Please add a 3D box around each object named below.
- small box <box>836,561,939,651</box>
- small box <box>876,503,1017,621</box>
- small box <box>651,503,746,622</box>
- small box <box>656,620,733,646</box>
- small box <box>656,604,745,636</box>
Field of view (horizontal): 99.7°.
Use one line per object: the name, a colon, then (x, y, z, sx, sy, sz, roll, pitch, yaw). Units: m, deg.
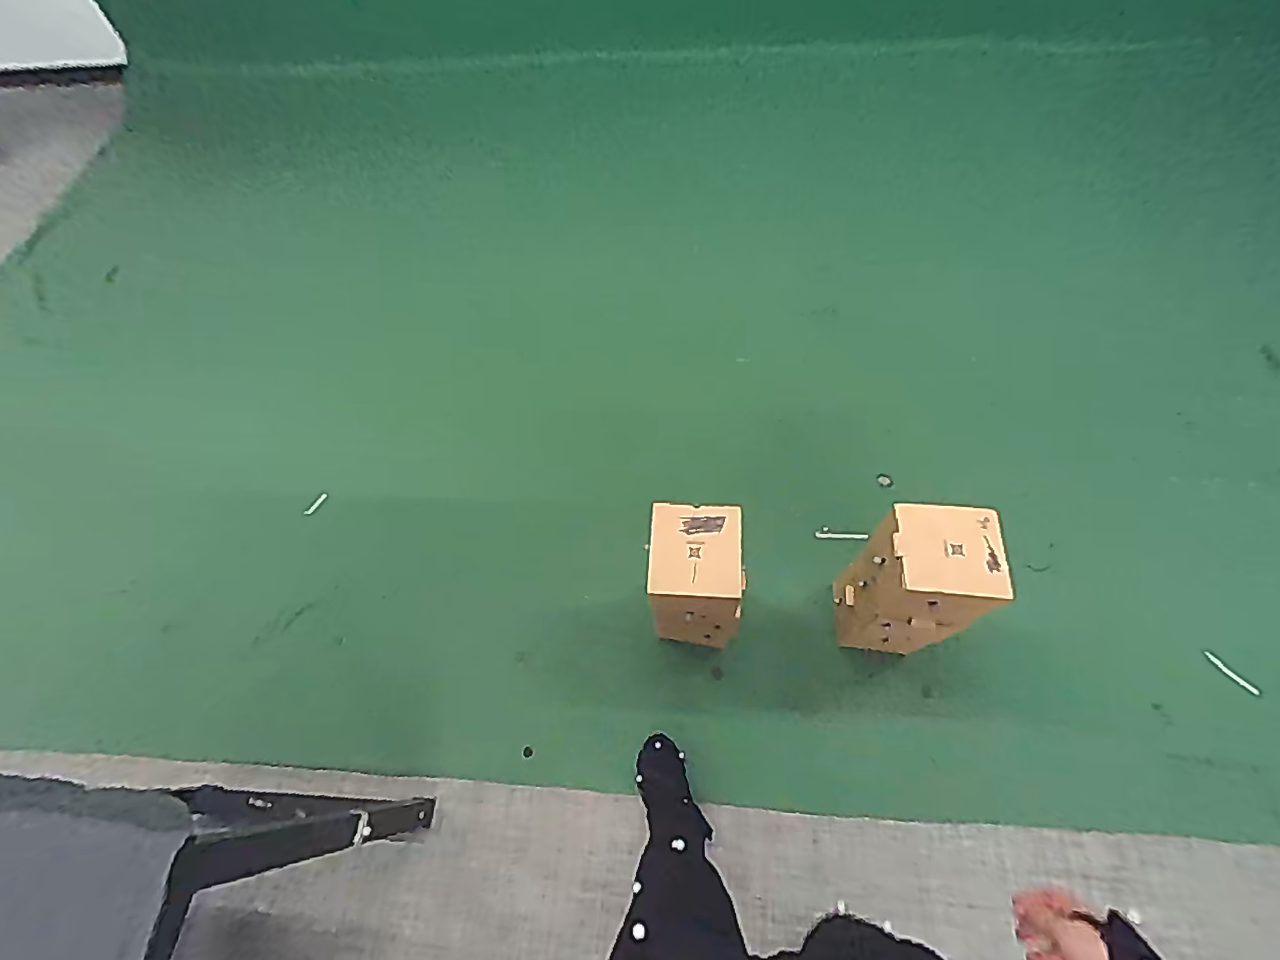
small box: (0.581, 0.305, 1.289, 0.179, 0.176, 0.168, 6, 64, 6)
small box: (0.548, 0.155, 0.999, 0.179, 0.176, 0.168, 4, 63, 7)
small box: (0.110, 0.160, 1.030, 0.168, 0.176, 0.179, 2, 63, 5)
small box: (0.141, 0.302, 1.324, 0.179, 0.176, 0.168, 7, 64, 8)
small box: (0.127, 0.238, 1.174, 0.179, 0.176, 0.168, -1, 62, 5)
